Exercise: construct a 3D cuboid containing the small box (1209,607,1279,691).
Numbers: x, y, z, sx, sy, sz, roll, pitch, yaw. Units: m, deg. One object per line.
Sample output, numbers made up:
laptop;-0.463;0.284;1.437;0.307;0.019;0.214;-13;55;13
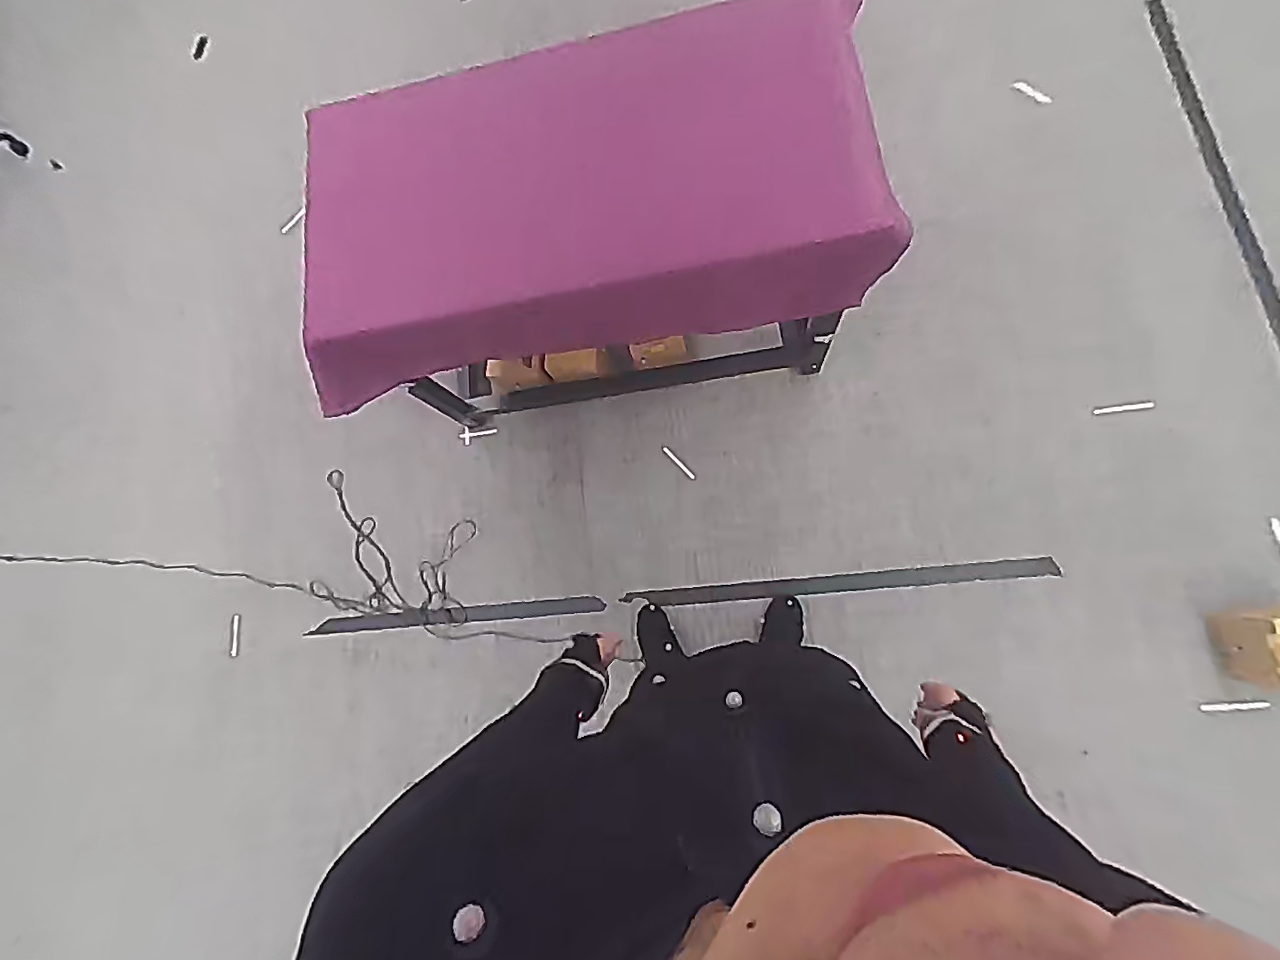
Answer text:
small box;1.558;0.403;1.300;0.179;0.176;0.168;-11;77;8
